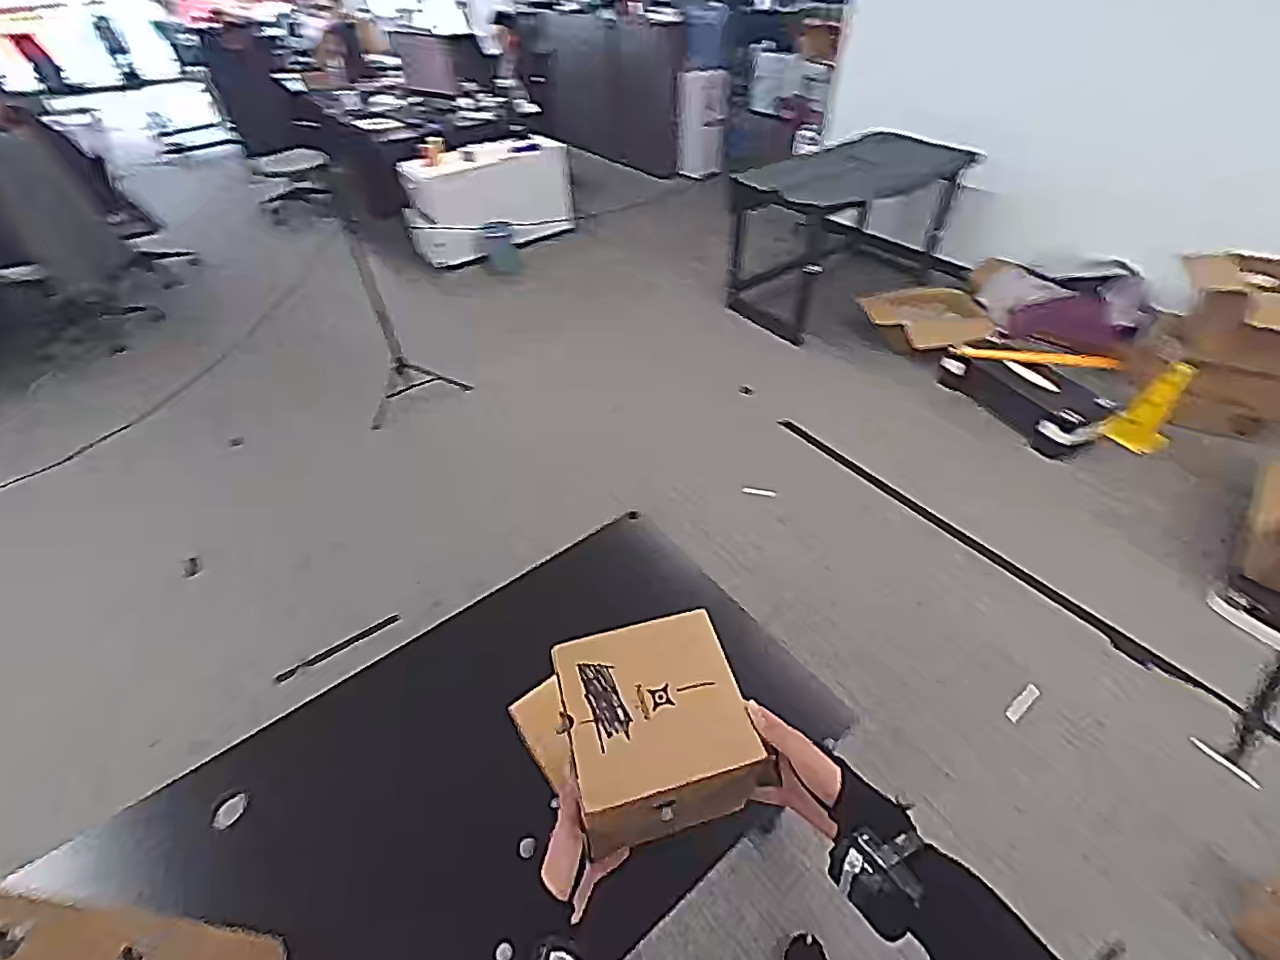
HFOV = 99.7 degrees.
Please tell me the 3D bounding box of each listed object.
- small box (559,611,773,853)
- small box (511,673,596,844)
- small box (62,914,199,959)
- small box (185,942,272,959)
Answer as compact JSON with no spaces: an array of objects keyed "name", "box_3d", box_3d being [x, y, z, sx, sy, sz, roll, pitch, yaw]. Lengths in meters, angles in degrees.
[{"name":"small box","box_3d":[0.018,0.271,0.581,0.179,0.176,0.168,-10,46,-12]},{"name":"small box","box_3d":[-0.063,0.384,0.786,0.168,0.176,0.179,-30,52,-25]},{"name":"small box","box_3d":[-0.487,0.514,0.442,0.168,0.176,0.179,-31,52,-25]},{"name":"small box","box_3d":[-0.481,0.632,0.558,0.168,0.176,0.179,-31,52,-26]}]
